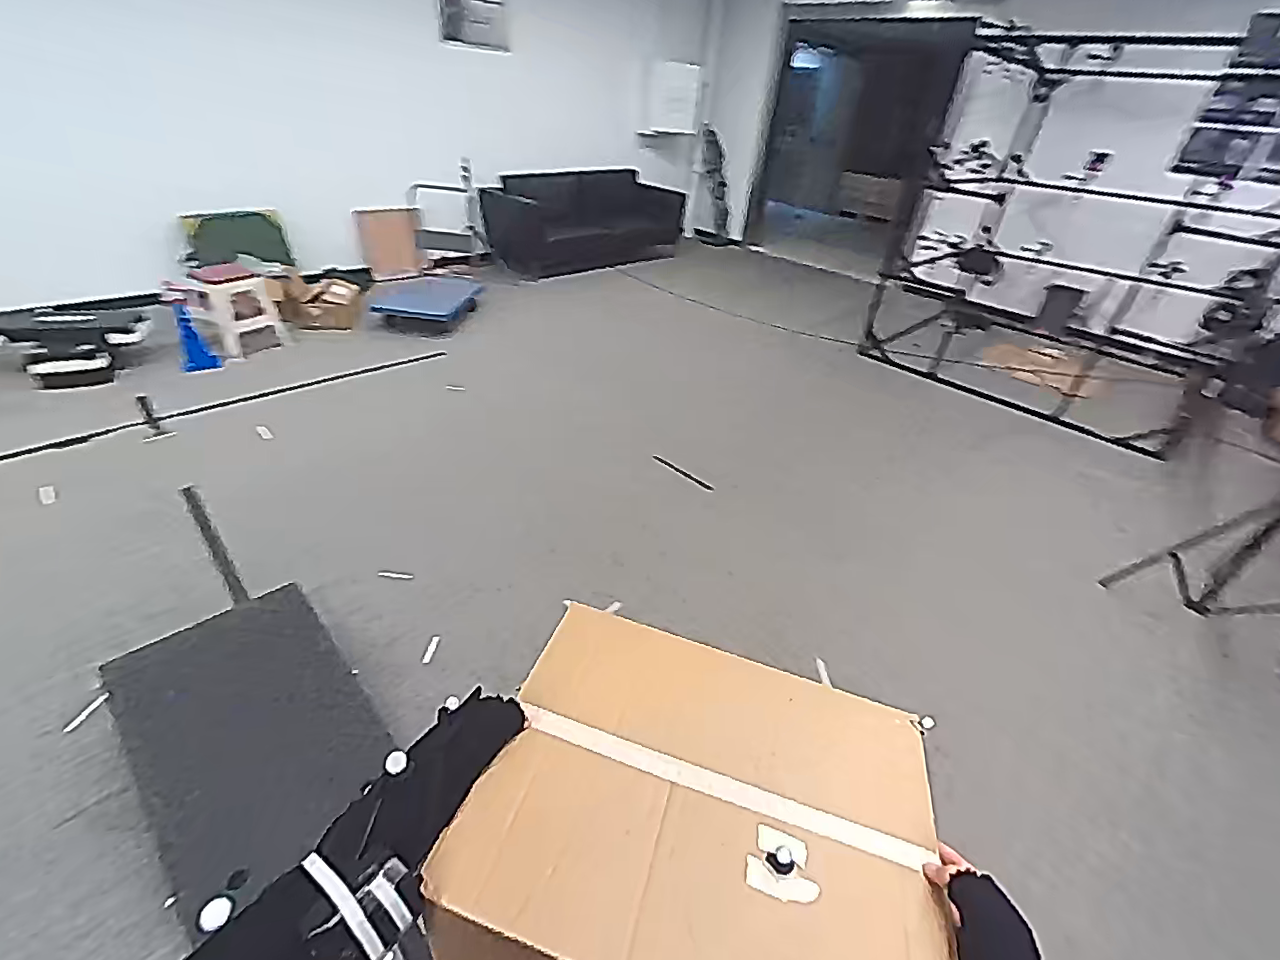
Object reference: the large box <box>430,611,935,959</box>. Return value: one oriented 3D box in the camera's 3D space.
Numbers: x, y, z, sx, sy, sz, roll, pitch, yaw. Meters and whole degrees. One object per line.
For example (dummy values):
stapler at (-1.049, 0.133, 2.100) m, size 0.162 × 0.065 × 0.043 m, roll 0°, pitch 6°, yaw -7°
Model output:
large box at (0.040, 0.408, 0.593) m, size 0.408 × 0.320 × 0.320 m, roll 16°, pitch 34°, yaw 10°

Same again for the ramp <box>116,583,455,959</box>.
ramp at (-0.912, 0.713, 1.397) m, size 0.991 × 0.206 × 0.509 m, roll 31°, pitch 41°, yaw 32°
